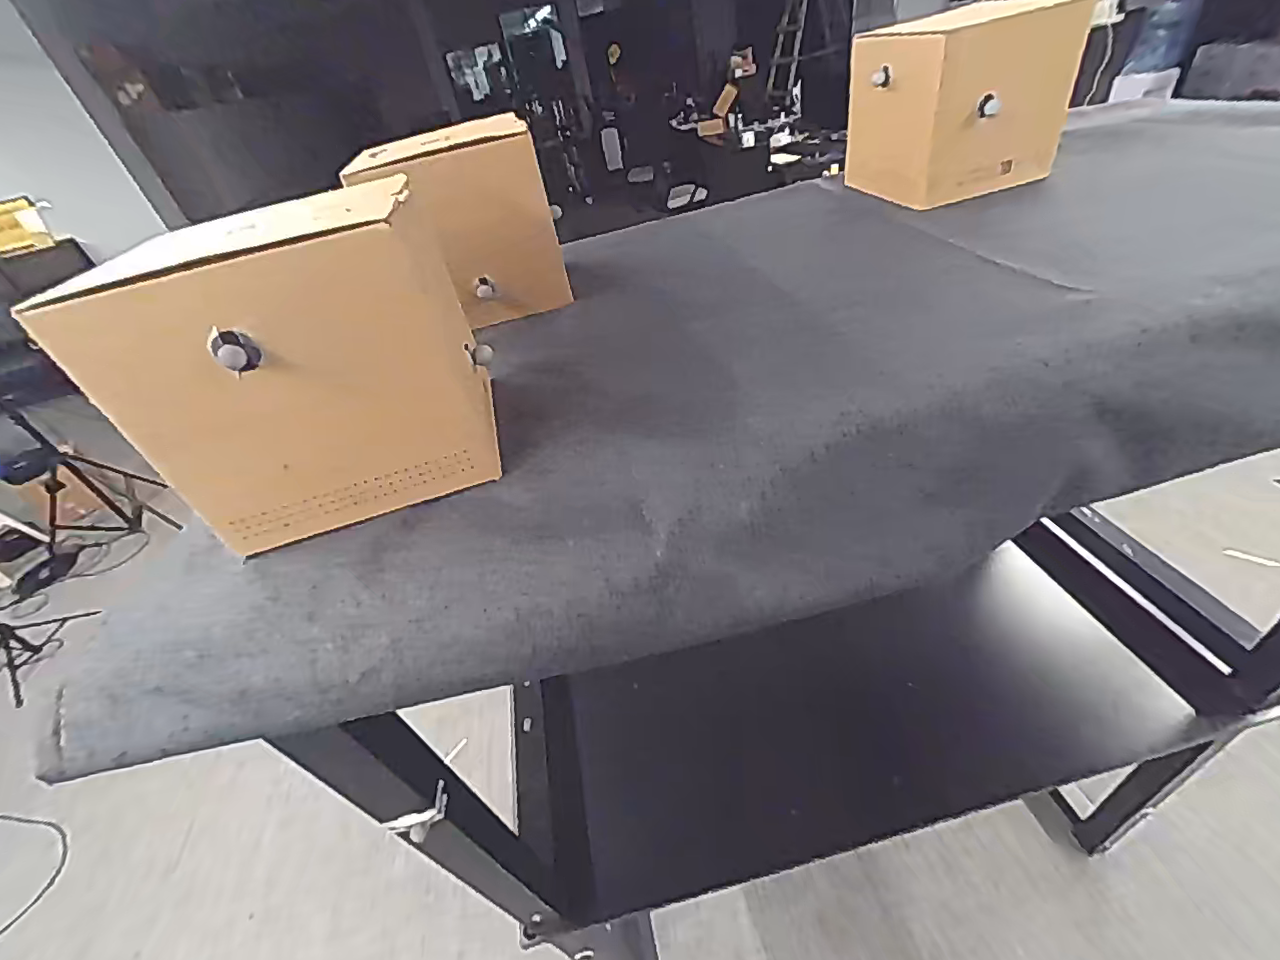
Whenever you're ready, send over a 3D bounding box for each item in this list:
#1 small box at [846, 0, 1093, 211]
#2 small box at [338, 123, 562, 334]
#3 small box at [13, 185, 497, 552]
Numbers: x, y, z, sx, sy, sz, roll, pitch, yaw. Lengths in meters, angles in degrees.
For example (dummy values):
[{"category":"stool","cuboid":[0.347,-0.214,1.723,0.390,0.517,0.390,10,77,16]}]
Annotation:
[{"category":"small box","cuboid":[0.362,-0.434,0.635,0.168,0.176,0.179,-16,39,-3]},{"category":"small box","cuboid":[-0.191,-0.271,0.595,0.179,0.176,0.168,-16,39,-5]},{"category":"small box","cuboid":[-0.213,-0.078,0.366,0.179,0.176,0.168,-18,38,-6]}]
